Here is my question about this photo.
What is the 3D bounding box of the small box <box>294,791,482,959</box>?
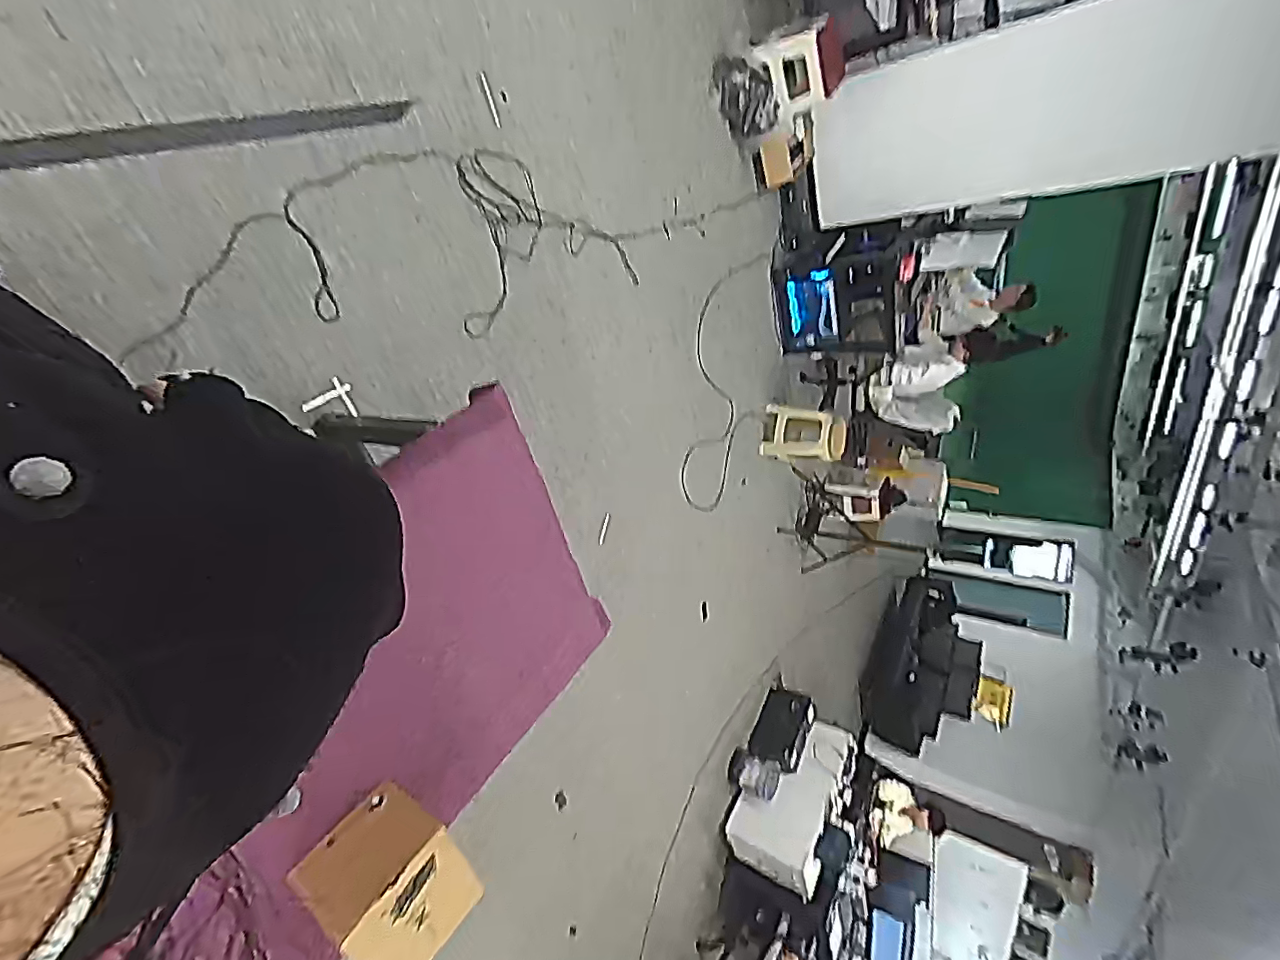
[{"bbox_3d":[-0.381,0.612,0.821,0.168,0.176,0.179,-40,126,-42],"label":"small box"}]
